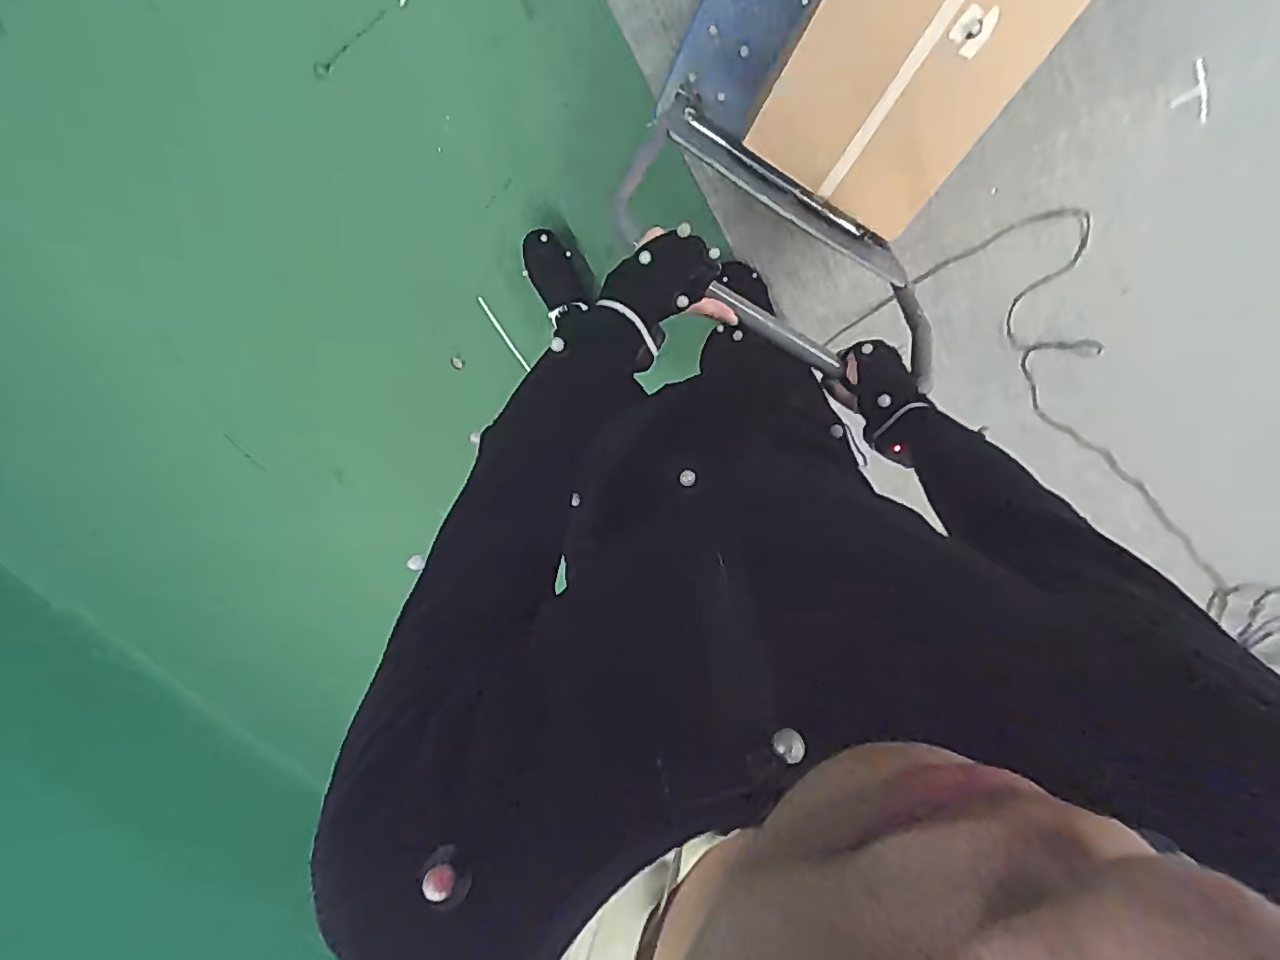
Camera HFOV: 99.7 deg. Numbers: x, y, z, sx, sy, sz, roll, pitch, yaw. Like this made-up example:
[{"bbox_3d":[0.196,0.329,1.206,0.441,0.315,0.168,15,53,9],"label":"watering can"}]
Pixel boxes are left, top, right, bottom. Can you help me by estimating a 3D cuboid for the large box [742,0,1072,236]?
[{"bbox_3d":[0.409,-0.709,0.917,0.320,0.320,0.408,27,128,-11],"label":"large box"}]
